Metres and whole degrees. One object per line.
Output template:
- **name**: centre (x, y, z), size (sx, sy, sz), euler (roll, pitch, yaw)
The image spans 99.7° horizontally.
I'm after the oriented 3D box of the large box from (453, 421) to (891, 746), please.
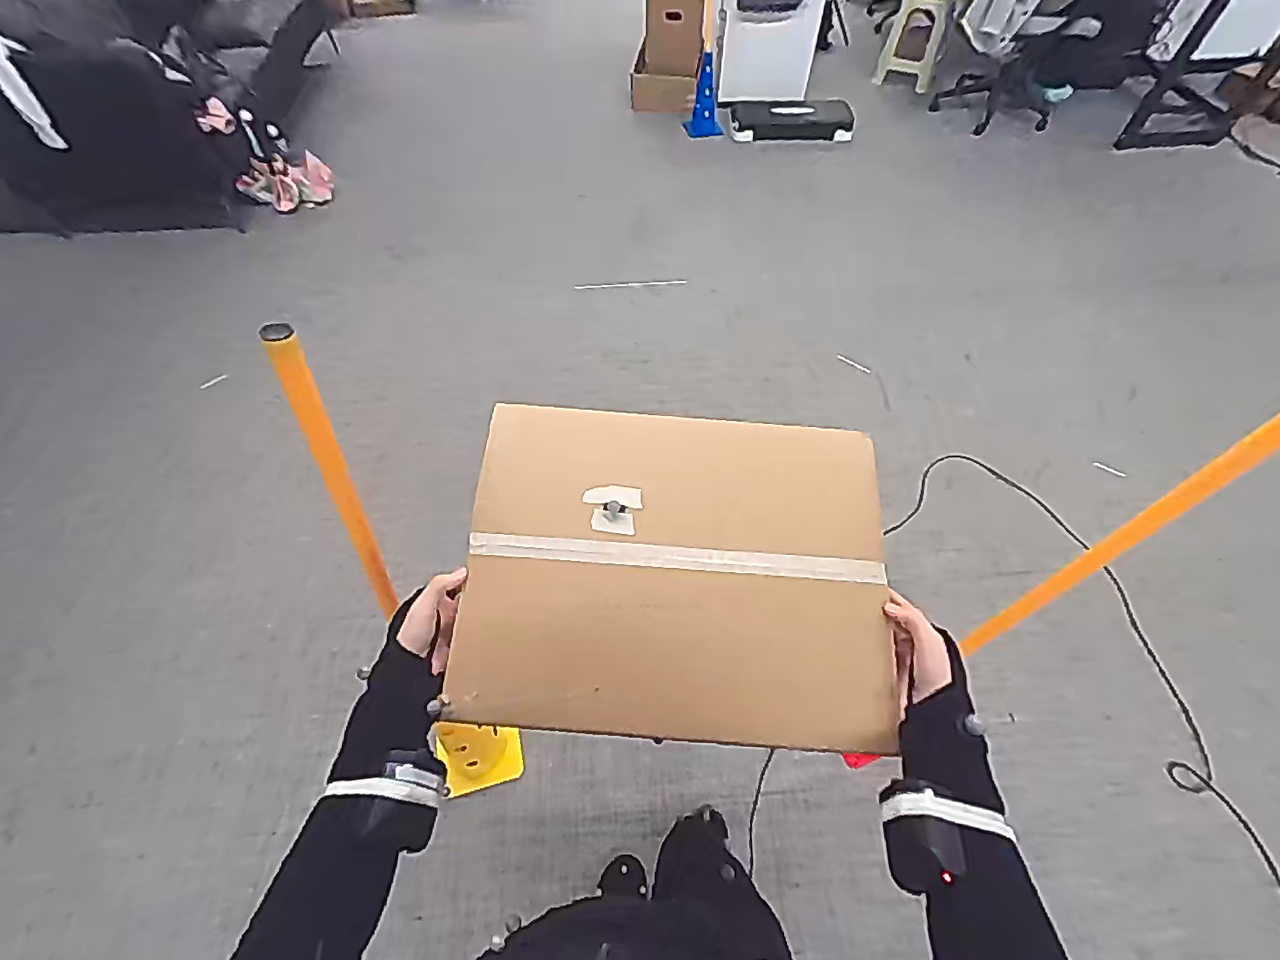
- **large box**: centre (0.035, 0.139, 0.678), size (0.408, 0.320, 0.320), euler (4, 67, 1)
